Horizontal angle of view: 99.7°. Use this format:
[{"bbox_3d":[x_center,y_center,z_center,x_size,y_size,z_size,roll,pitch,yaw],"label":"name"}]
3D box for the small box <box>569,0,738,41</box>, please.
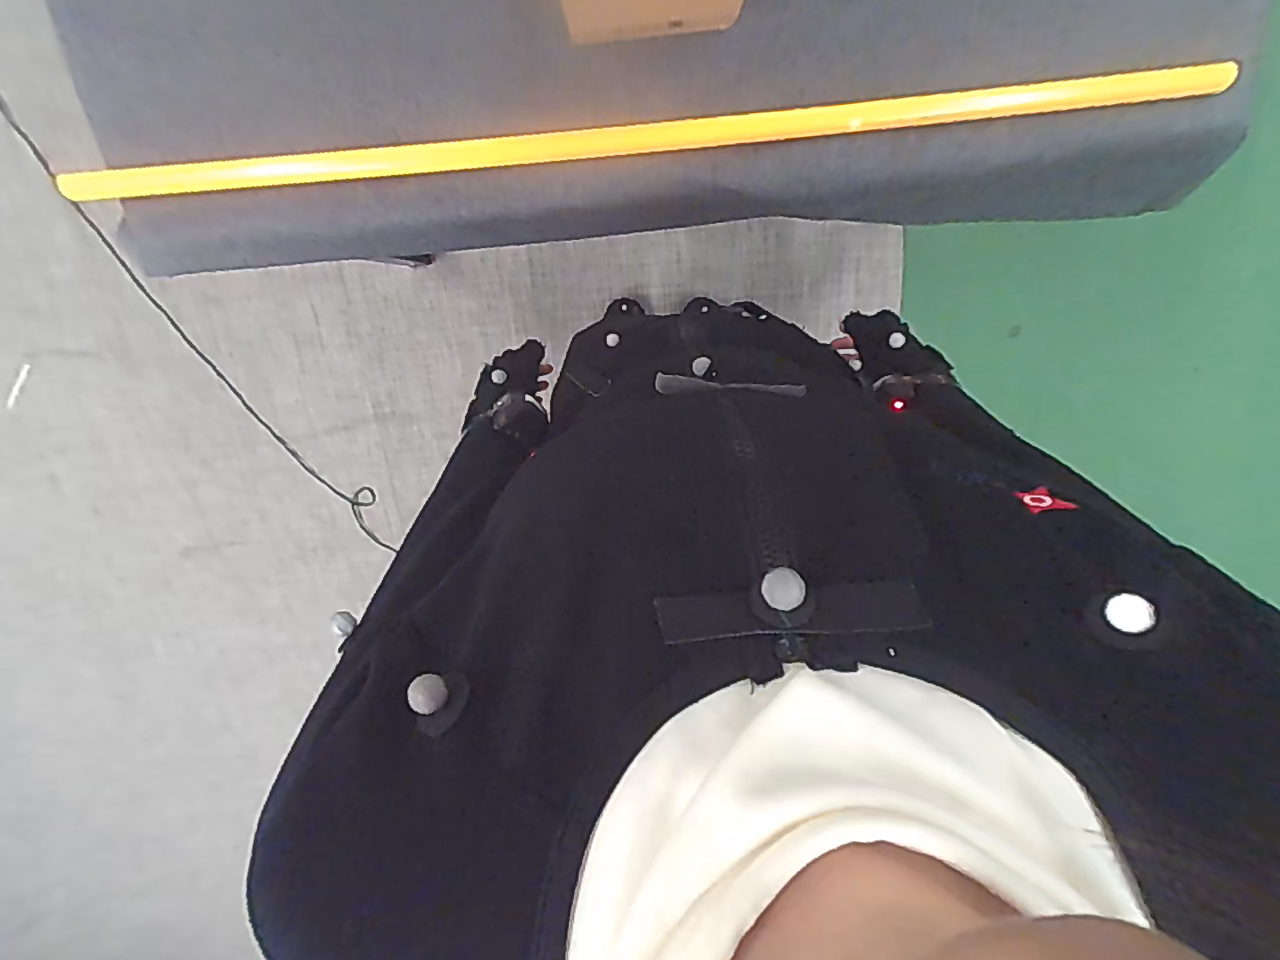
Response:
[{"bbox_3d":[0.006,-0.512,0.447,0.168,0.176,0.179,-5,108,2],"label":"small box"}]
